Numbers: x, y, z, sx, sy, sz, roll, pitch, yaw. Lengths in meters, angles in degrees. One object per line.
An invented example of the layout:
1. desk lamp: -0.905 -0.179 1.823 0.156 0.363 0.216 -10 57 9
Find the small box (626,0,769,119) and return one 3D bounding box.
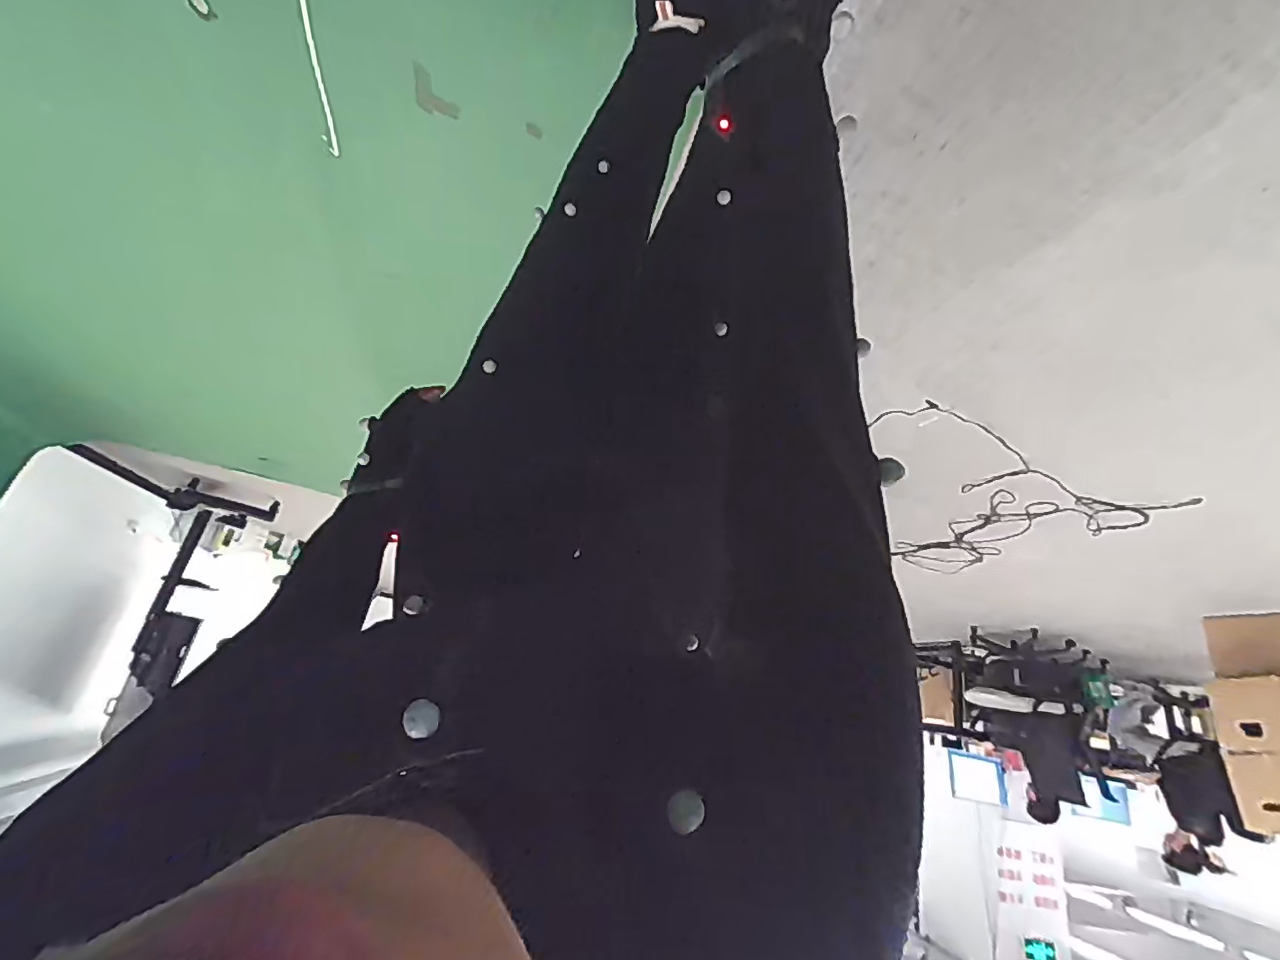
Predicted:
1. small box: 0.071 -0.641 0.736 0.168 0.176 0.179 3 163 -4
